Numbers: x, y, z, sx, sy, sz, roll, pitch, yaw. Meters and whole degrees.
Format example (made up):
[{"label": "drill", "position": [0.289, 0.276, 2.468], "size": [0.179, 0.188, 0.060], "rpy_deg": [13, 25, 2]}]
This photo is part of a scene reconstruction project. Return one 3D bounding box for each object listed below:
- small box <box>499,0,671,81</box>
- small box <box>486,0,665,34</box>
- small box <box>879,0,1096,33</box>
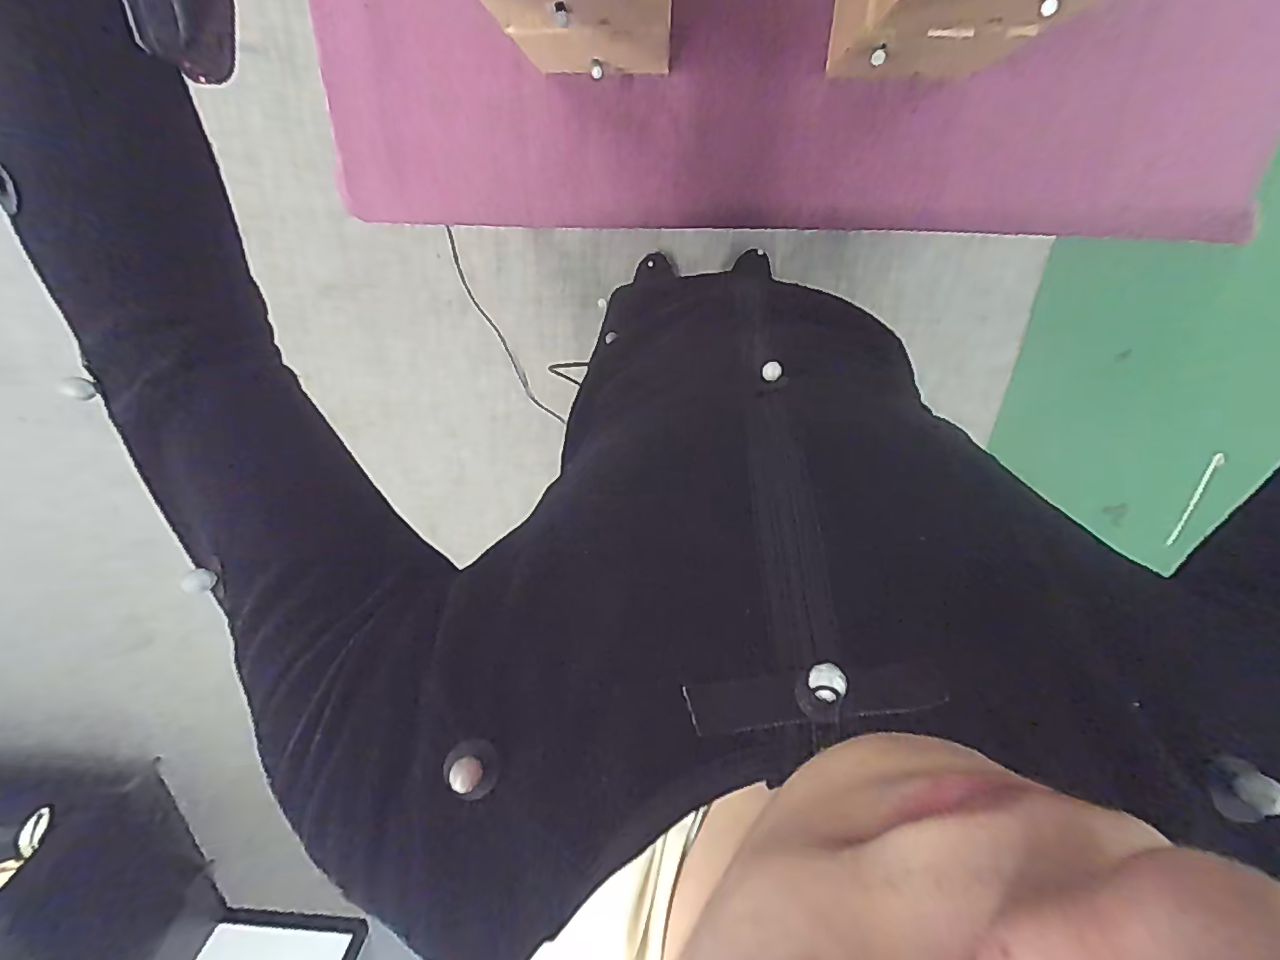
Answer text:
[{"label": "small box", "position": [-0.050, -0.552, 0.572], "size": [0.168, 0.176, 0.179], "rpy_deg": [3, 115, 3]}, {"label": "small box", "position": [-0.060, -0.486, 0.424], "size": [0.168, 0.176, 0.179], "rpy_deg": [1, 116, 3]}, {"label": "small box", "position": [0.298, -0.467, 0.406], "size": [0.168, 0.176, 0.179], "rpy_deg": [2, 114, 3]}]
